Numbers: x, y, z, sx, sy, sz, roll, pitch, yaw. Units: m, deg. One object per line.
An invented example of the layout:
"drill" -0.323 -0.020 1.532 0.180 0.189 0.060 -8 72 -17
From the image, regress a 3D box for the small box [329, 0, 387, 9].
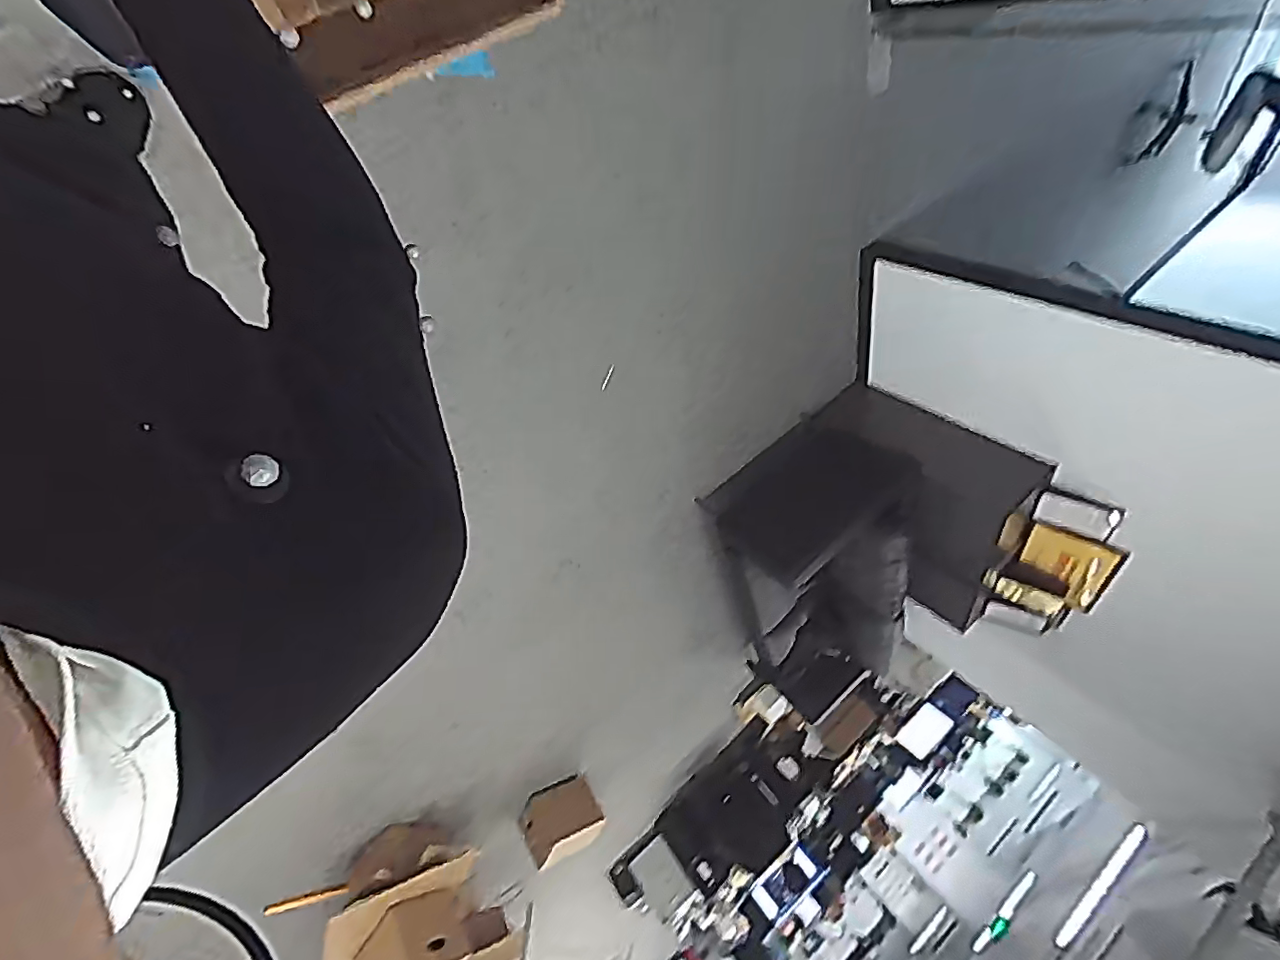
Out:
"small box" -0.233 -0.541 0.465 0.168 0.176 0.179 -39 137 -16

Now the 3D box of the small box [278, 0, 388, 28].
"small box" -0.334 -0.617 0.570 0.168 0.176 0.179 -37 137 -17
